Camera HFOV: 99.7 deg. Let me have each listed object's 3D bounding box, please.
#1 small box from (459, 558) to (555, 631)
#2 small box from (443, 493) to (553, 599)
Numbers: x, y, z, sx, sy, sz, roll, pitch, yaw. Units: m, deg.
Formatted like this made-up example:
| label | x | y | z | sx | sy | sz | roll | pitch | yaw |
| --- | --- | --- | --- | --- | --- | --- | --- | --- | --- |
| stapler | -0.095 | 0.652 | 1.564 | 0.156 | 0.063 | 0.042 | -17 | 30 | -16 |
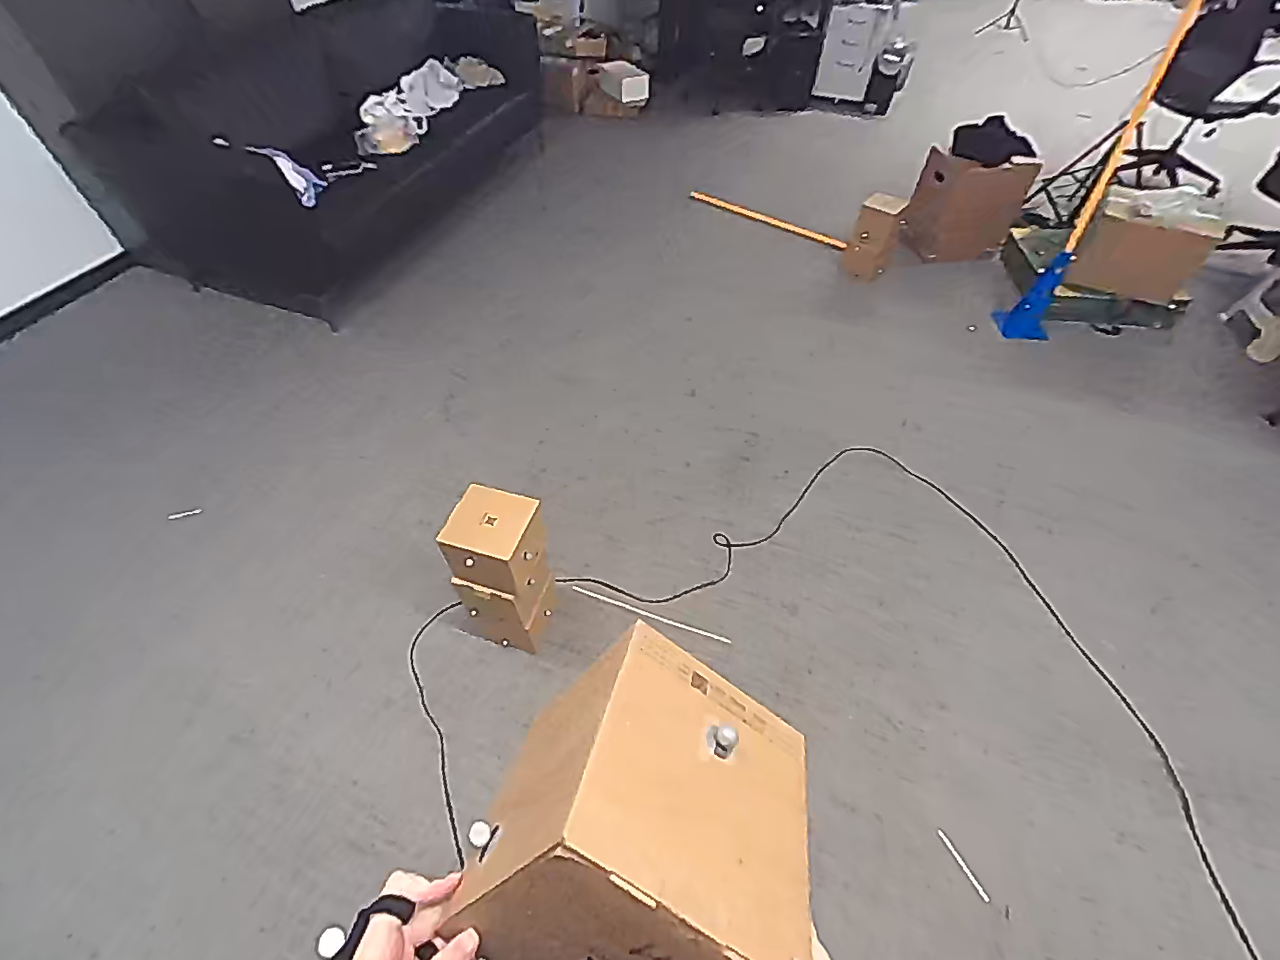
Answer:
| label | x | y | z | sx | sy | sz | roll | pitch | yaw |
| --- | --- | --- | --- | --- | --- | --- | --- | --- | --- |
| small box | -0.329 | 0.263 | 1.386 | 0.168 | 0.176 | 0.179 | 13 | 52 | 11 |
| small box | -0.319 | 0.158 | 1.260 | 0.179 | 0.176 | 0.168 | 12 | 52 | 13 |
